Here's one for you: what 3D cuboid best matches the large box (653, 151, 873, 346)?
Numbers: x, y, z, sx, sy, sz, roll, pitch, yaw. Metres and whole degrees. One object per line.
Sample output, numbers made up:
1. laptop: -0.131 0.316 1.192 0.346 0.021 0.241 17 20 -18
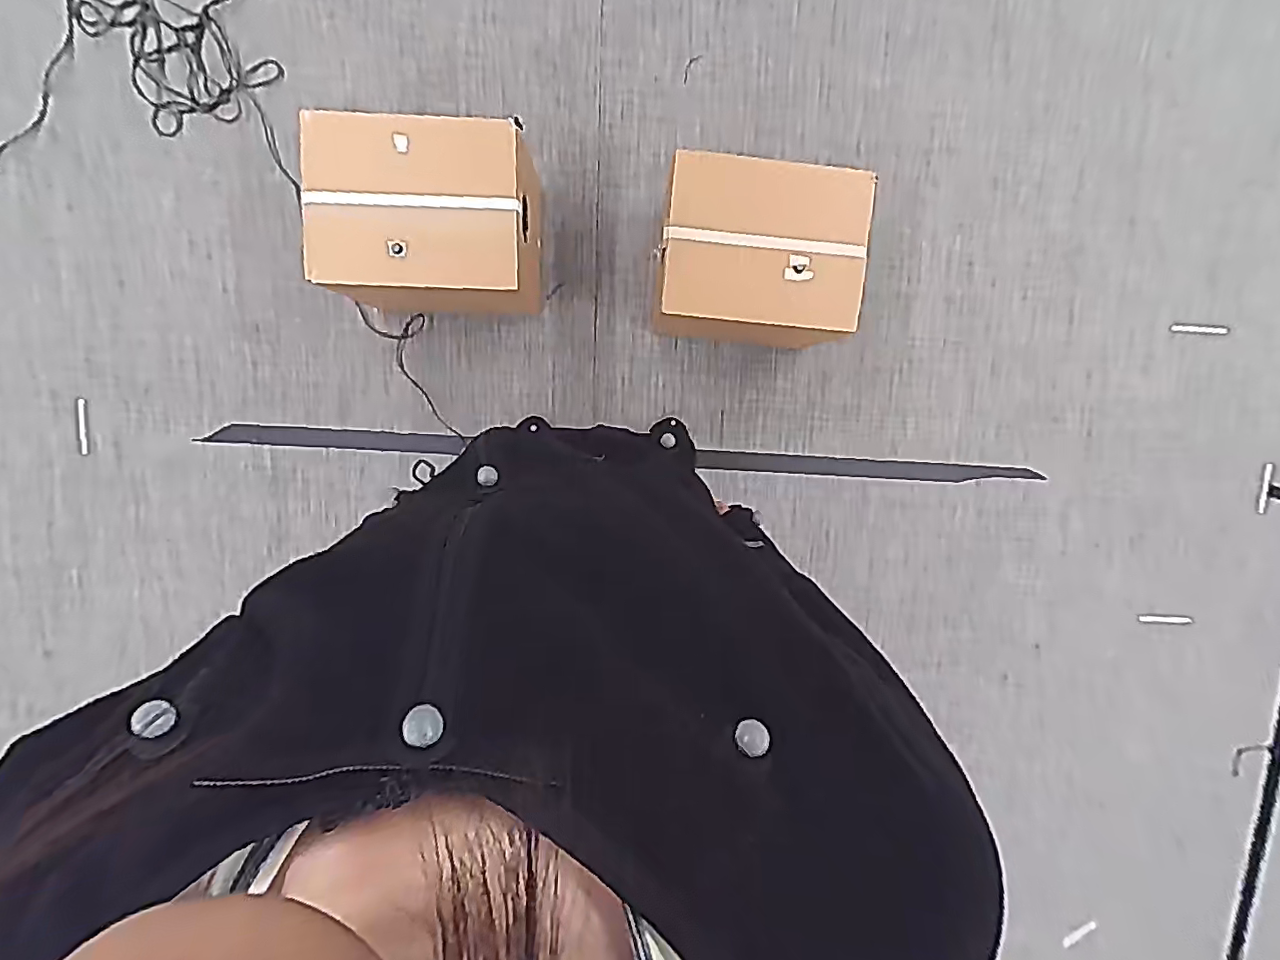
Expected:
1. large box: 0.248 -0.495 1.231 0.408 0.320 0.320 5 97 -4
